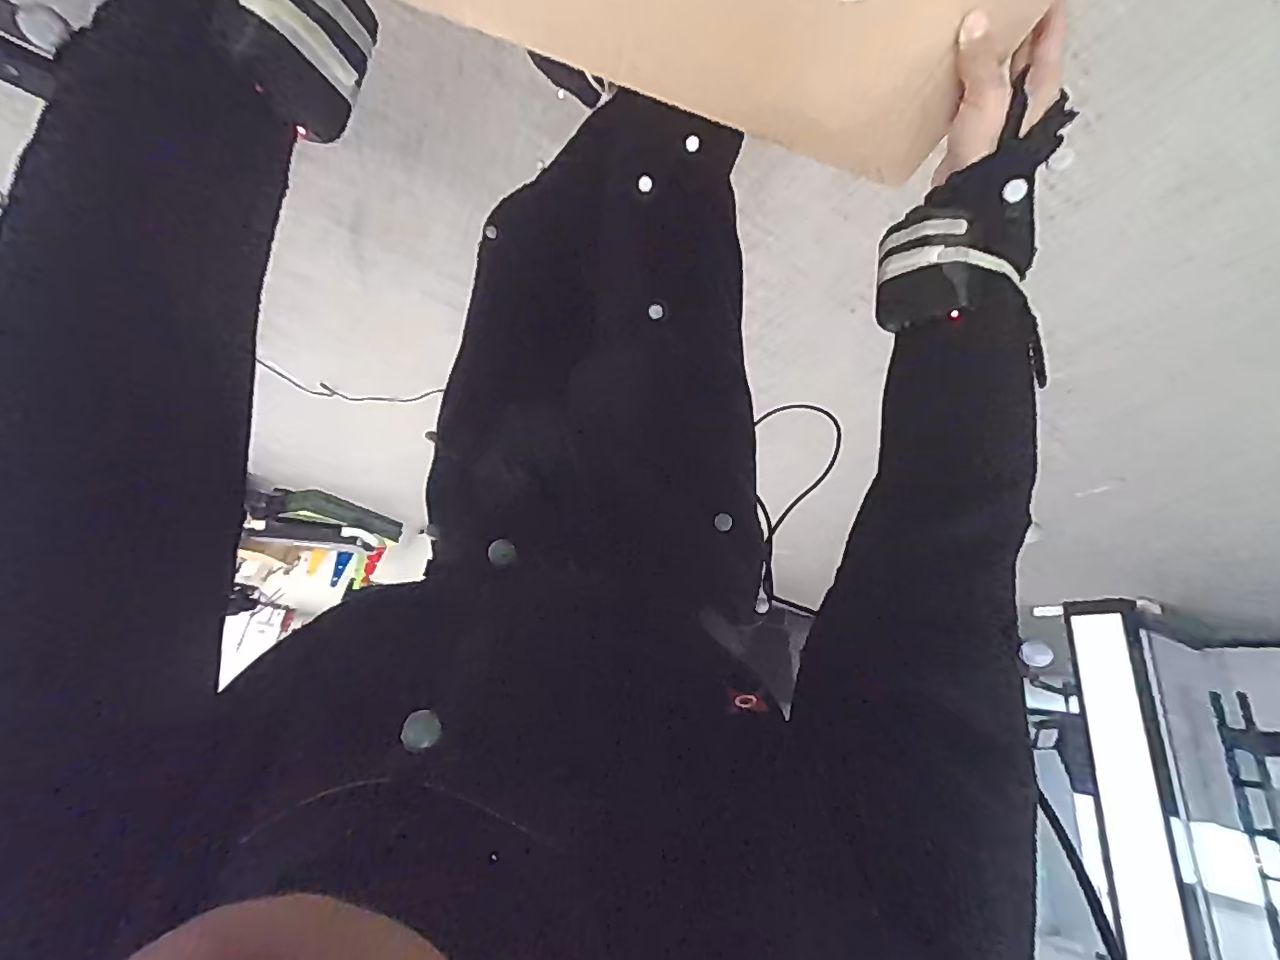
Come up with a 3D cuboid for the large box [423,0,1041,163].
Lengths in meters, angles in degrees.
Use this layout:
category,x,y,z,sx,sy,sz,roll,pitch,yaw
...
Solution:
category,x,y,z,sx,sy,sz,roll,pitch,yaw
large box,0.073,-0.479,0.327,0.408,0.320,0.320,10,152,-14
